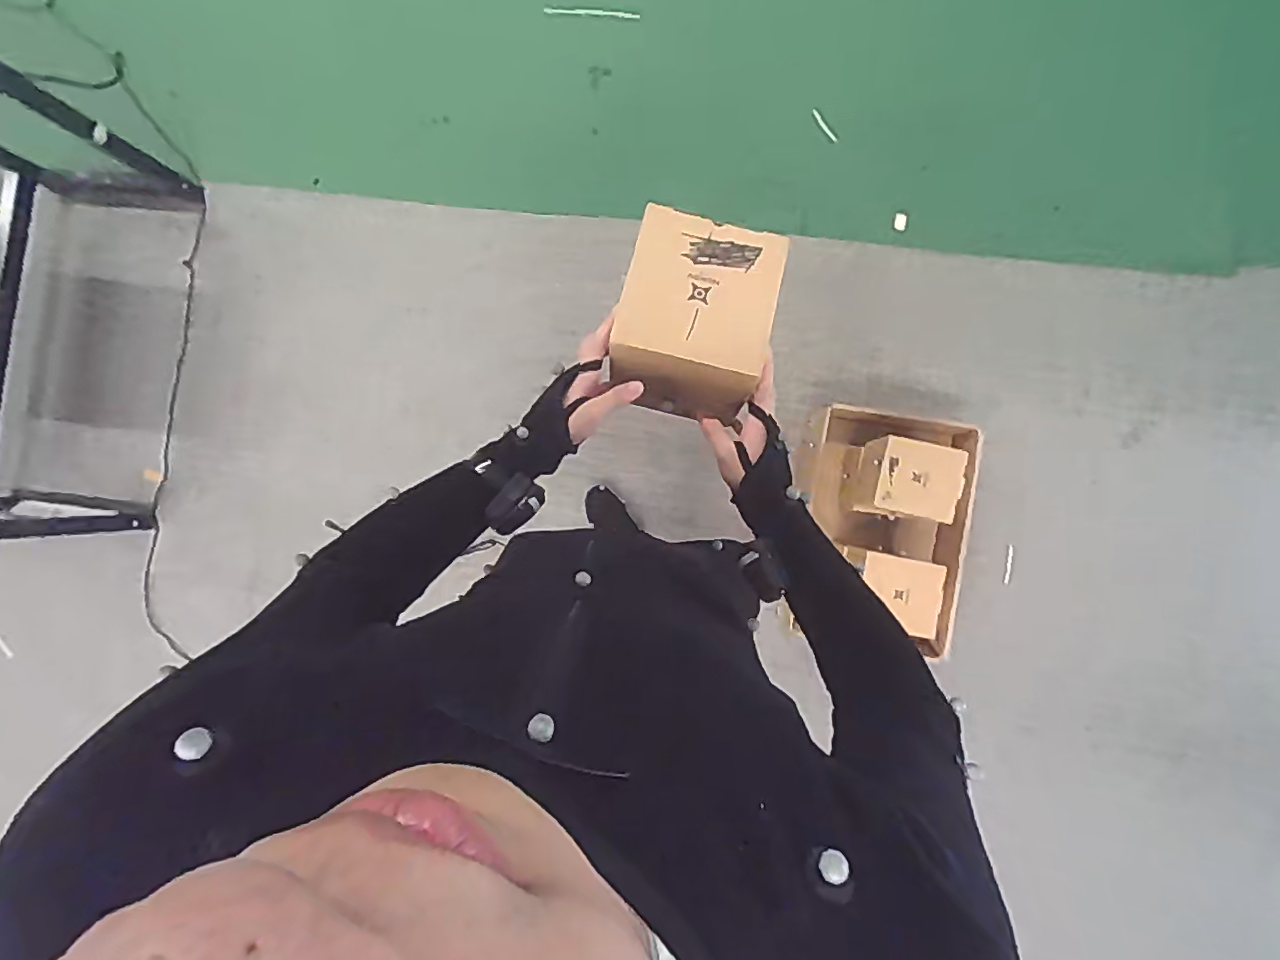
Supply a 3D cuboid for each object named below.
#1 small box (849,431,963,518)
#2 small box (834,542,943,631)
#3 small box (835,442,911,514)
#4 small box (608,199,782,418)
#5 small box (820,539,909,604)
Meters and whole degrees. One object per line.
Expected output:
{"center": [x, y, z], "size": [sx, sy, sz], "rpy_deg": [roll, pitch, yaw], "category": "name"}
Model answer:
{"center": [0.628, -0.012, 1.295], "size": [0.179, 0.176, 0.168], "rpy_deg": [13, 90, 5], "category": "small box"}
{"center": [0.586, 0.247, 1.295], "size": [0.179, 0.176, 0.168], "rpy_deg": [11, 88, 6], "category": "small box"}
{"center": [0.641, -0.004, 1.459], "size": [0.179, 0.176, 0.168], "rpy_deg": [8, 91, 6], "category": "small box"}
{"center": [0.058, -0.198, 0.664], "size": [0.168, 0.176, 0.179], "rpy_deg": [13, 77, 0], "category": "small box"}
{"center": [0.597, 0.254, 1.458], "size": [0.179, 0.176, 0.168], "rpy_deg": [9, 89, 6], "category": "small box"}
